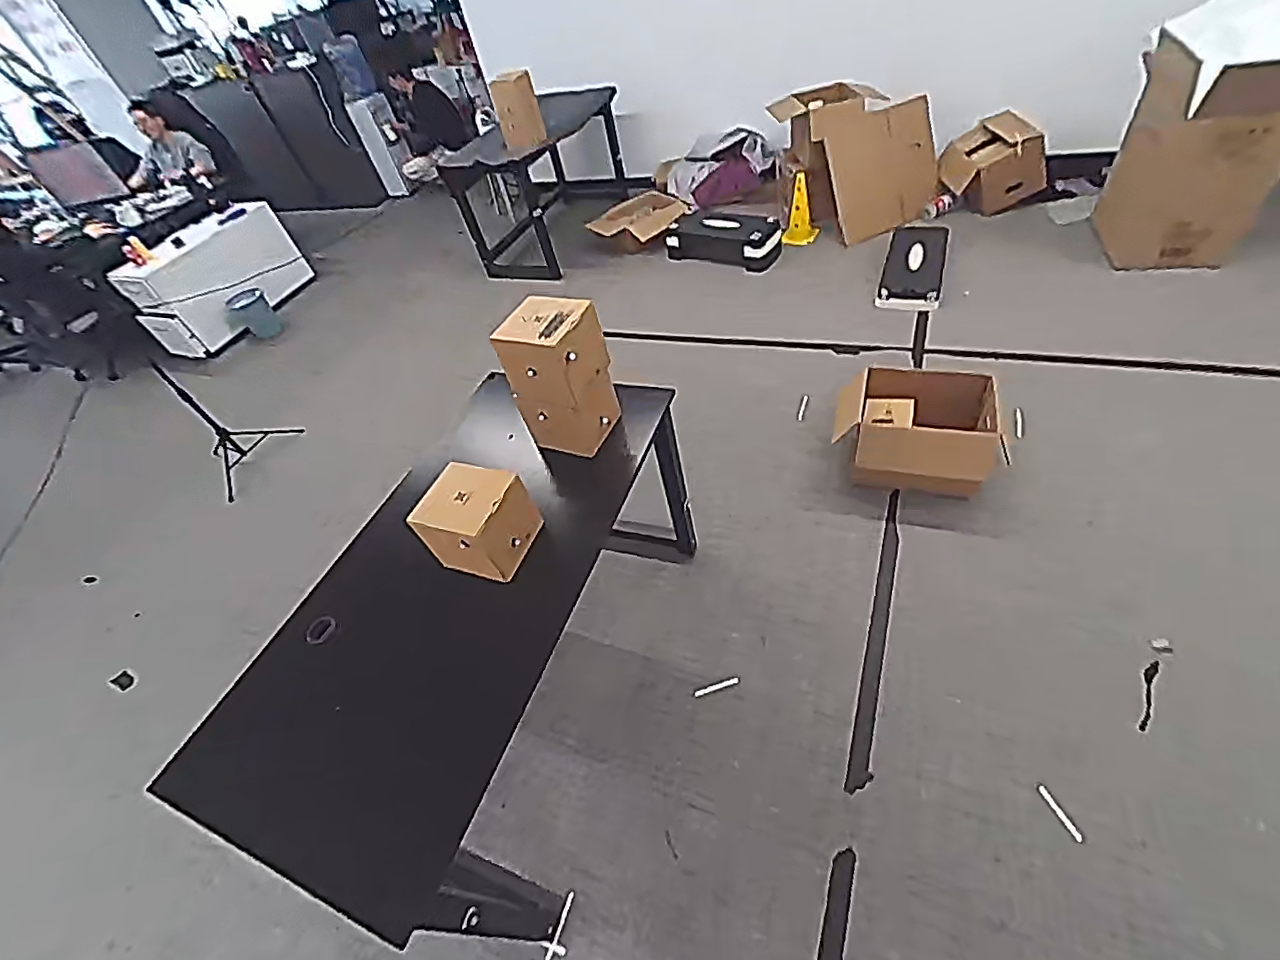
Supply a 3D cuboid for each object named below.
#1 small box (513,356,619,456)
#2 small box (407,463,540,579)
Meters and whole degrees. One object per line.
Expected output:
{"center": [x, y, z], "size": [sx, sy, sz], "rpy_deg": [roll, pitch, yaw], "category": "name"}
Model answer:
{"center": [-0.174, -0.181, 1.334], "size": [0.179, 0.176, 0.168], "rpy_deg": [14, 55, 25], "category": "small box"}
{"center": [-0.340, 0.089, 1.139], "size": [0.179, 0.176, 0.168], "rpy_deg": [9, 52, 21], "category": "small box"}
